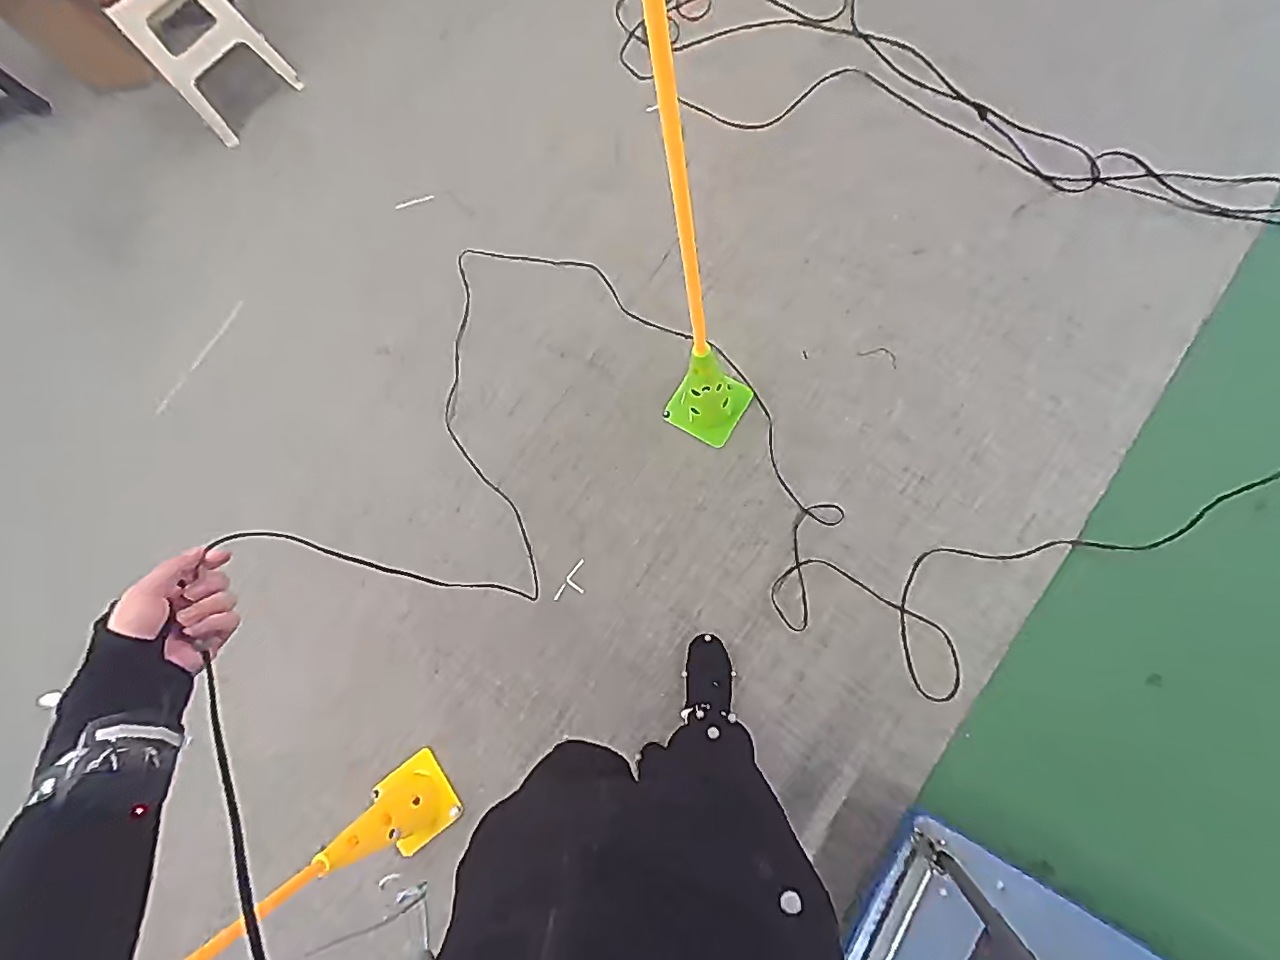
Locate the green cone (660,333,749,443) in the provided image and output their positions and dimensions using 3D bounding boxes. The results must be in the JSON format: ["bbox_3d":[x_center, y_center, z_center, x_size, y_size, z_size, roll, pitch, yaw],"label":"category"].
[{"bbox_3d":[0.157,-0.261,1.362,0.200,0.368,0.202,30,83,14],"label":"green cone"}]
